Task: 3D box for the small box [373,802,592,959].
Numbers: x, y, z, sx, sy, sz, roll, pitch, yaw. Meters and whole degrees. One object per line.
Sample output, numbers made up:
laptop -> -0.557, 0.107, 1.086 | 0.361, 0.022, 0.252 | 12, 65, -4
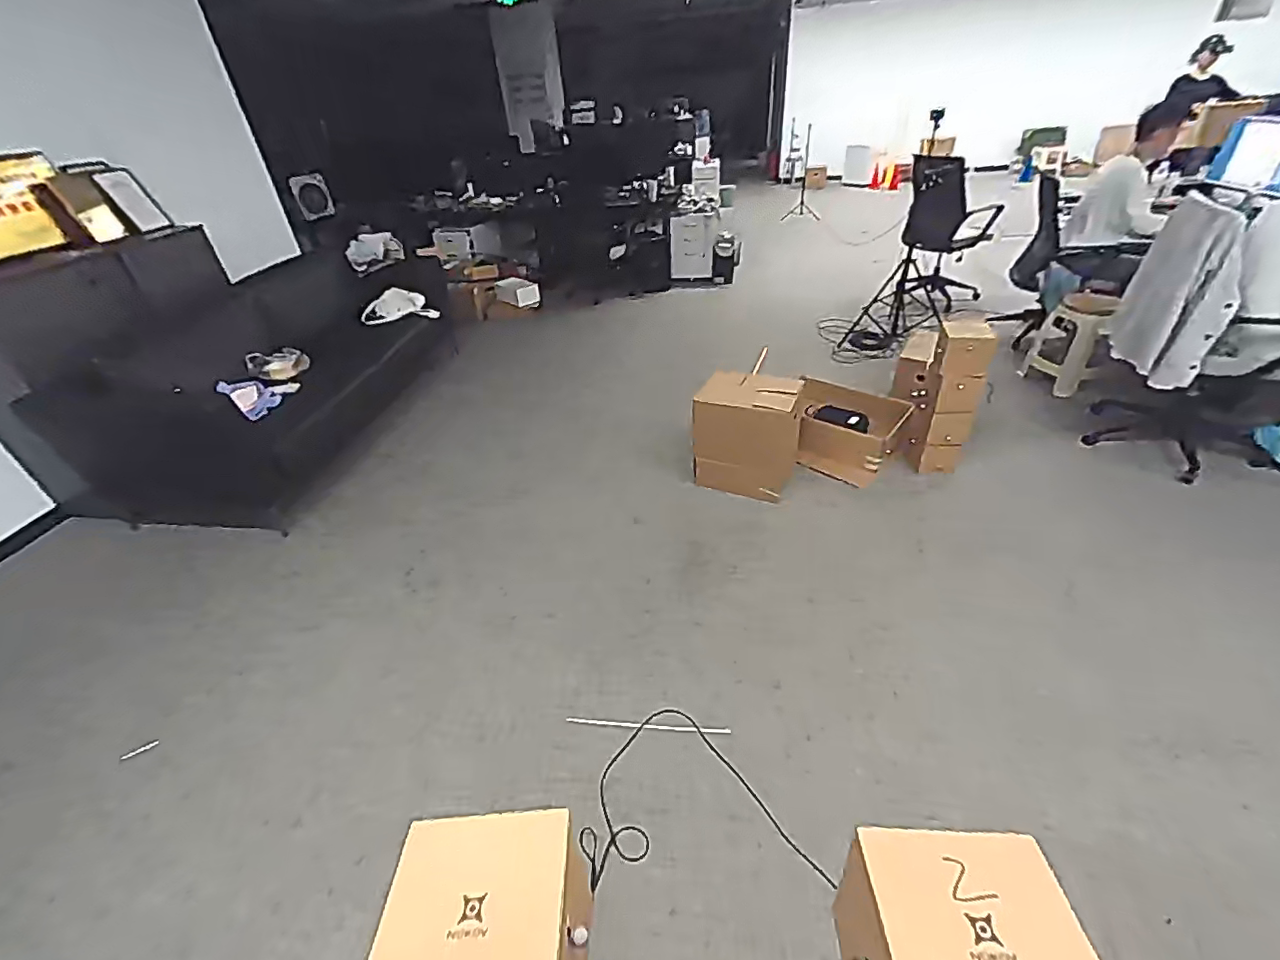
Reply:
small box -> -0.141, 0.455, 0.532 | 0.168, 0.176, 0.179 | -6, 31, 1
